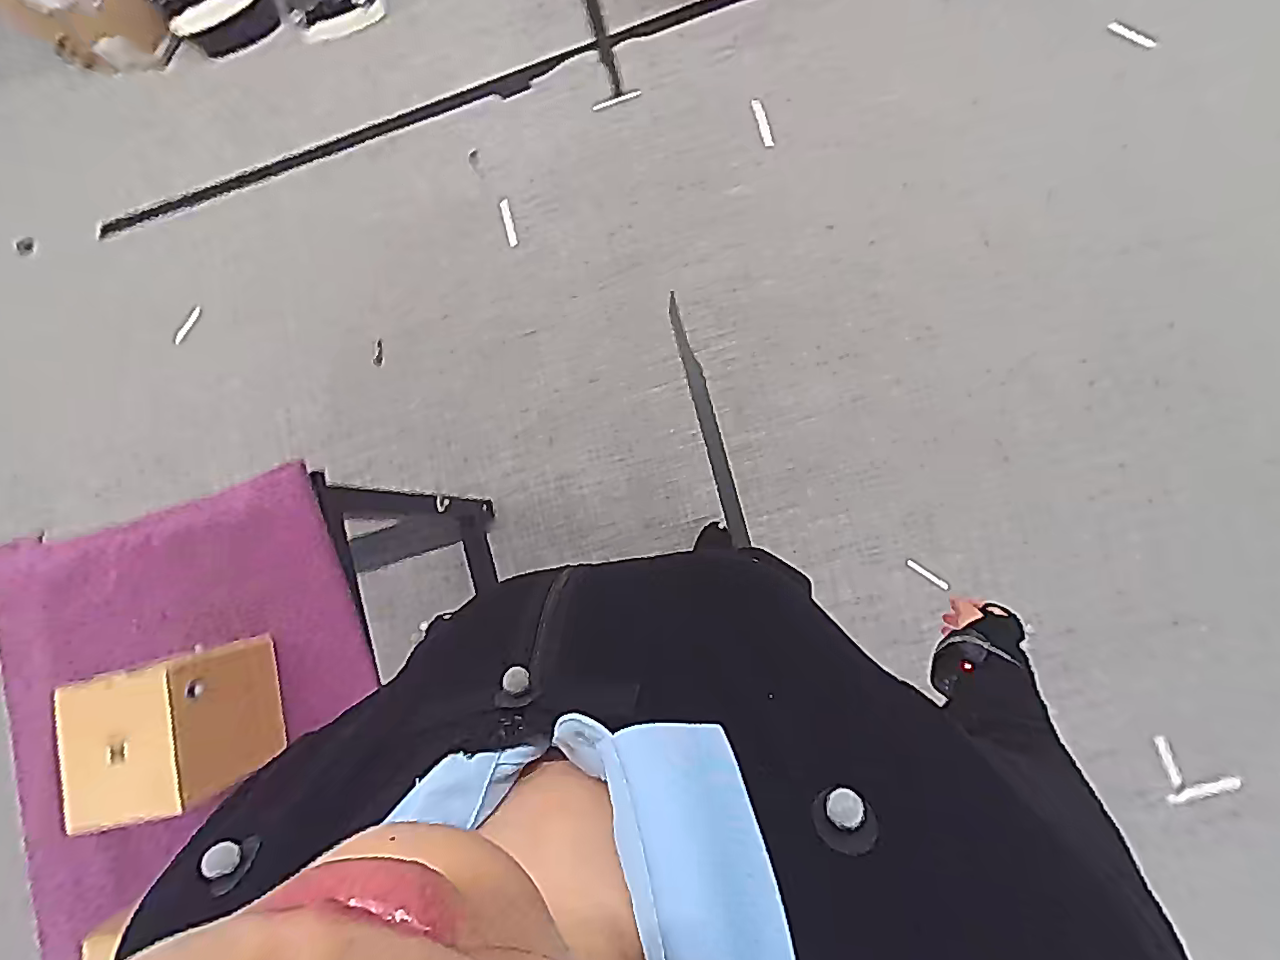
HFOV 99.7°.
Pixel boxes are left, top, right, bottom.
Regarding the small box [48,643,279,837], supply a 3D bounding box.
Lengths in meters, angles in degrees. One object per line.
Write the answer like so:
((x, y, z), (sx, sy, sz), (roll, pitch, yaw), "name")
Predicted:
((-0.630, 0.339, 0.735), (0.168, 0.176, 0.179), (-13, 83, 6), "small box")

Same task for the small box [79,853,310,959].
((-0.560, 0.628, 0.700), (0.168, 0.176, 0.179), (-9, 84, 5), "small box")
